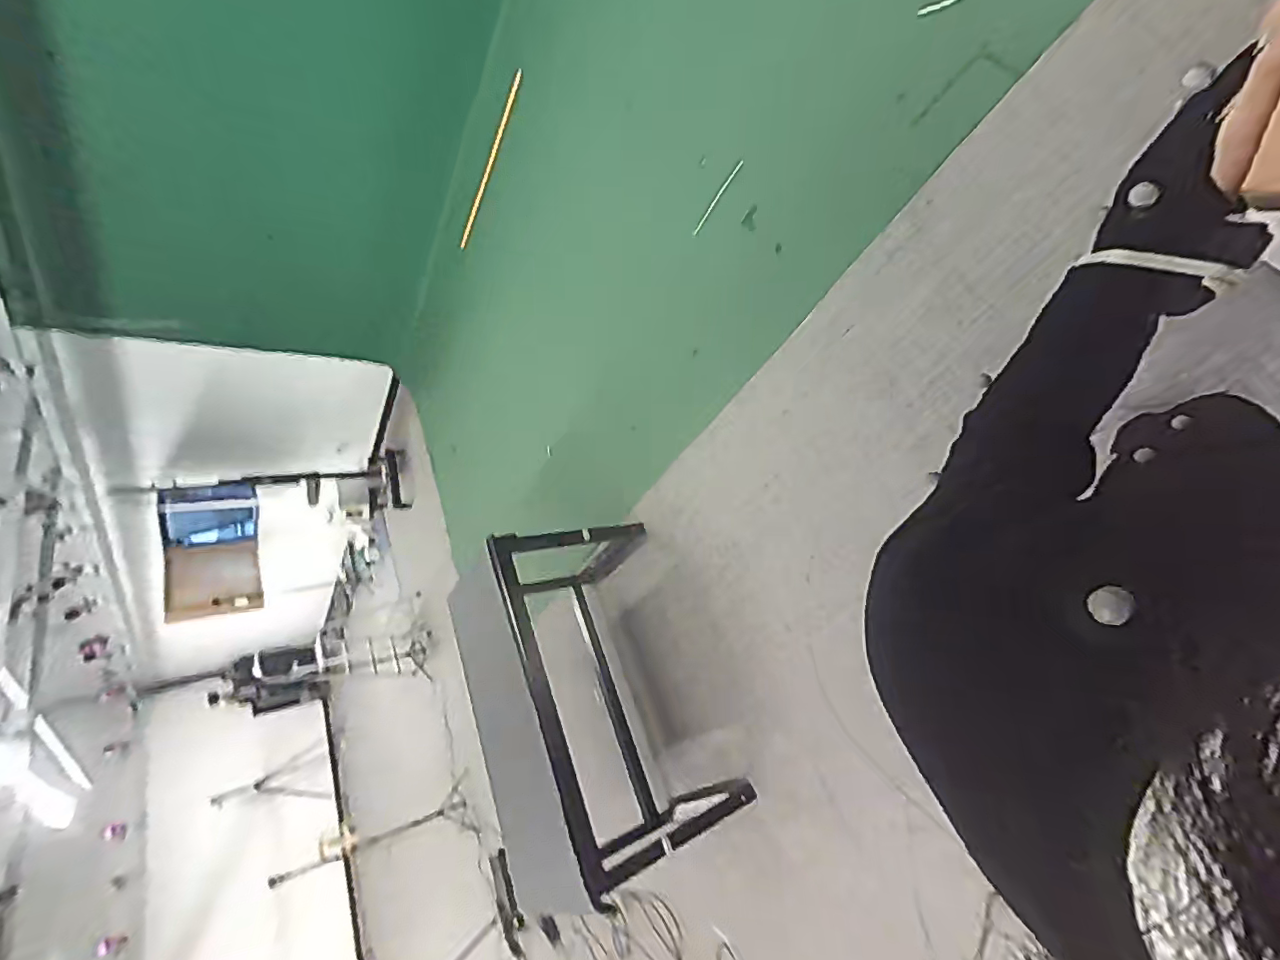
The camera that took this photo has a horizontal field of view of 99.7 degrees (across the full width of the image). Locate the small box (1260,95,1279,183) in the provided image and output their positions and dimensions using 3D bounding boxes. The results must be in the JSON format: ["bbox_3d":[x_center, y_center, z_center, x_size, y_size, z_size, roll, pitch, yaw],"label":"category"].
[{"bbox_3d":[0.404,-0.225,0.220,0.168,0.176,0.179,22,121,44],"label":"small box"}]
